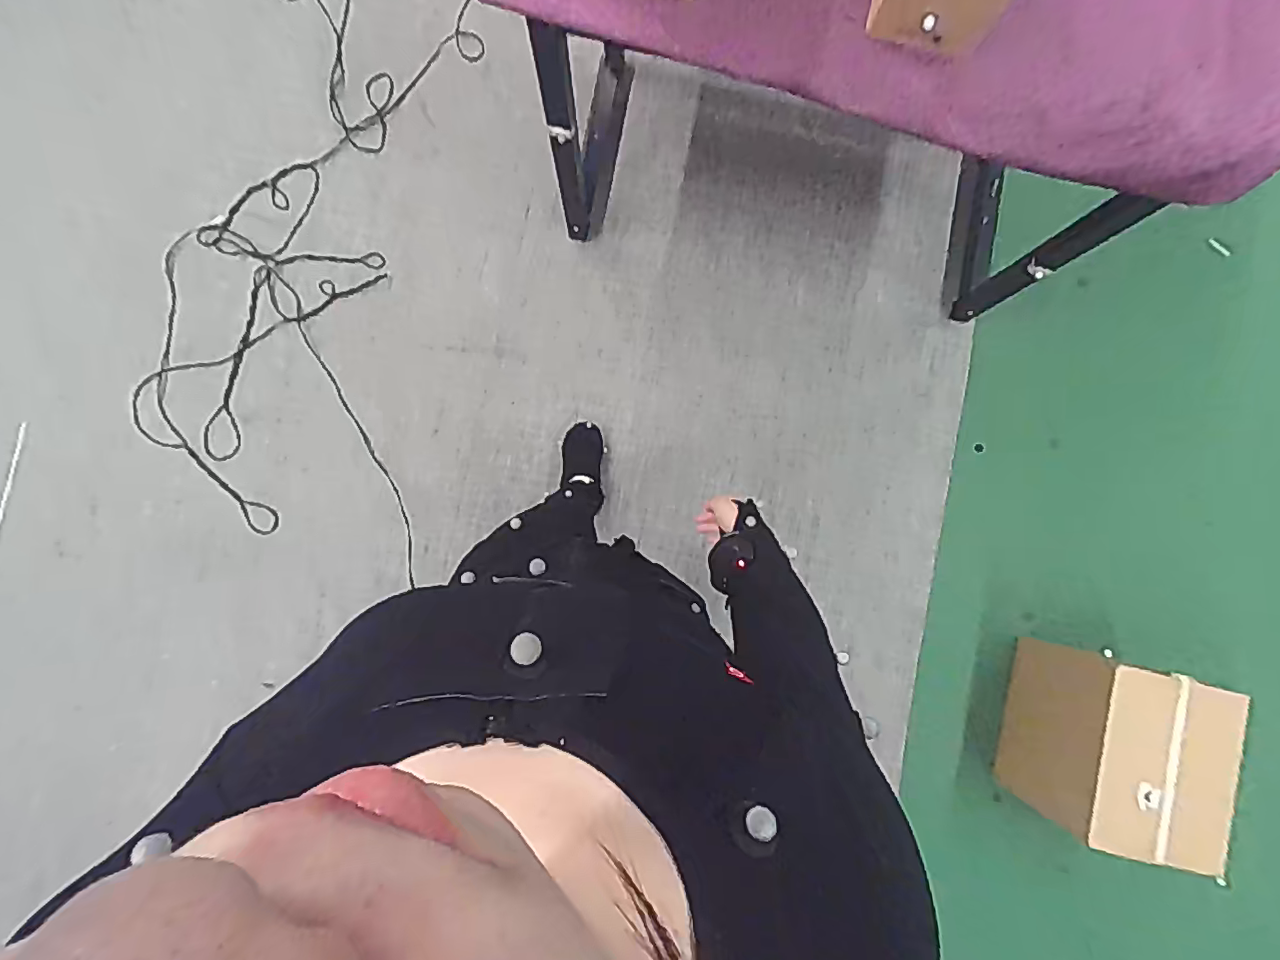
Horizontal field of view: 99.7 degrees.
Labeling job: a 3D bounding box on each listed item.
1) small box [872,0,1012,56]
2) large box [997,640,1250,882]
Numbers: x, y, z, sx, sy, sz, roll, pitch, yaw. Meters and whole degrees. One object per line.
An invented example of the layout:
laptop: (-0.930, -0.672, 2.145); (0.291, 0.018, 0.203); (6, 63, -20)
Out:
small box: (0.447, -0.750, 0.749); (0.168, 0.176, 0.179); (13, 86, 0)
large box: (1.153, 0.652, 1.327); (0.320, 0.320, 0.408); (14, 86, 0)
